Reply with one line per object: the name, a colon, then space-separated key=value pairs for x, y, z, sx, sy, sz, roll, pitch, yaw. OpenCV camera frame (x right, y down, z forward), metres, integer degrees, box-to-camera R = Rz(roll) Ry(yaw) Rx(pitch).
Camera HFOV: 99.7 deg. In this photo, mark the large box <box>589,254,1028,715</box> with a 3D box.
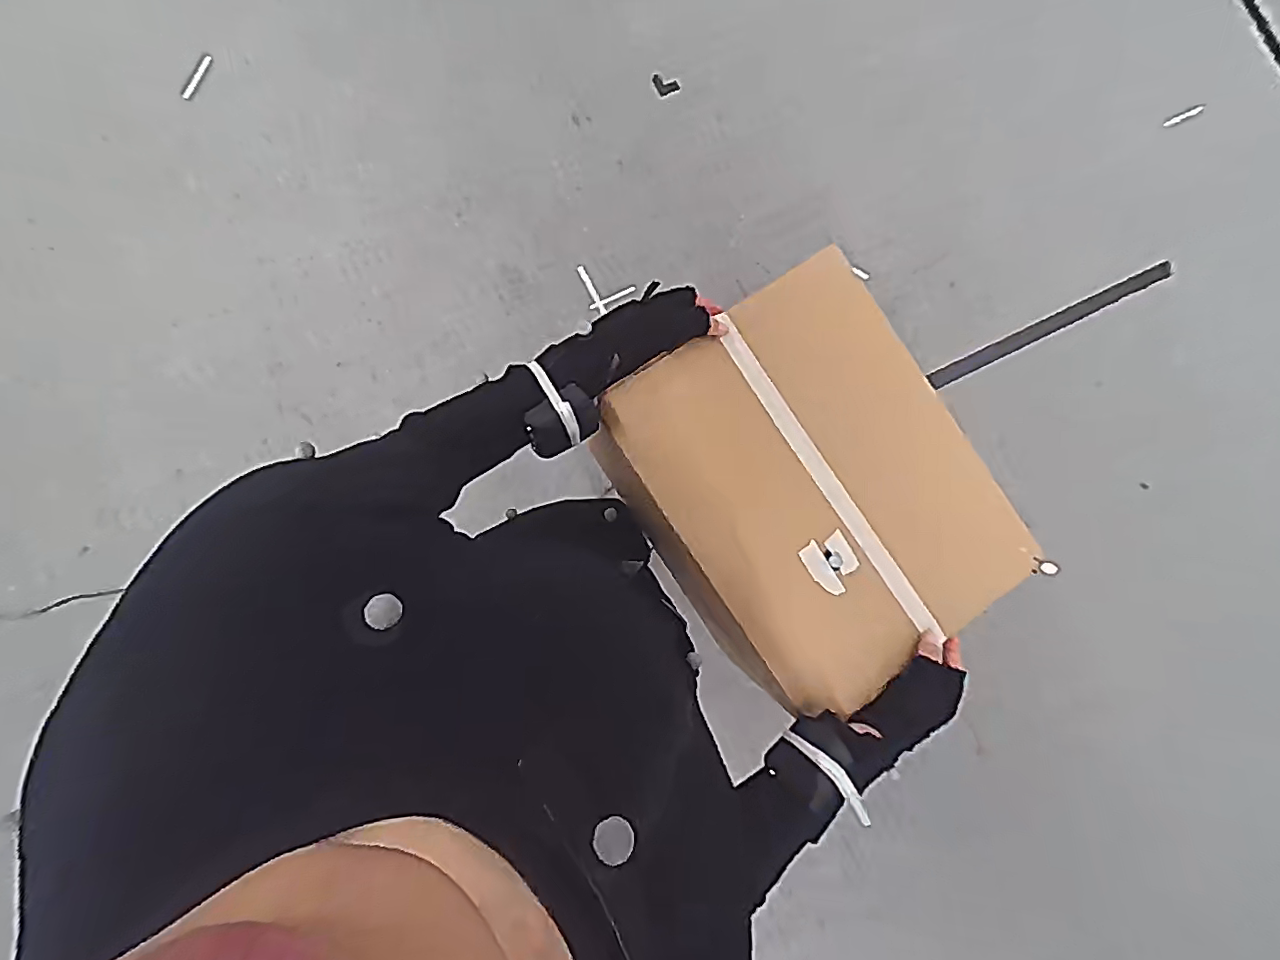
large box: x=0.172 y=0.006 z=0.715 sx=0.320 sy=0.320 sz=0.408 roll=-34 pitch=91 yaw=-7
